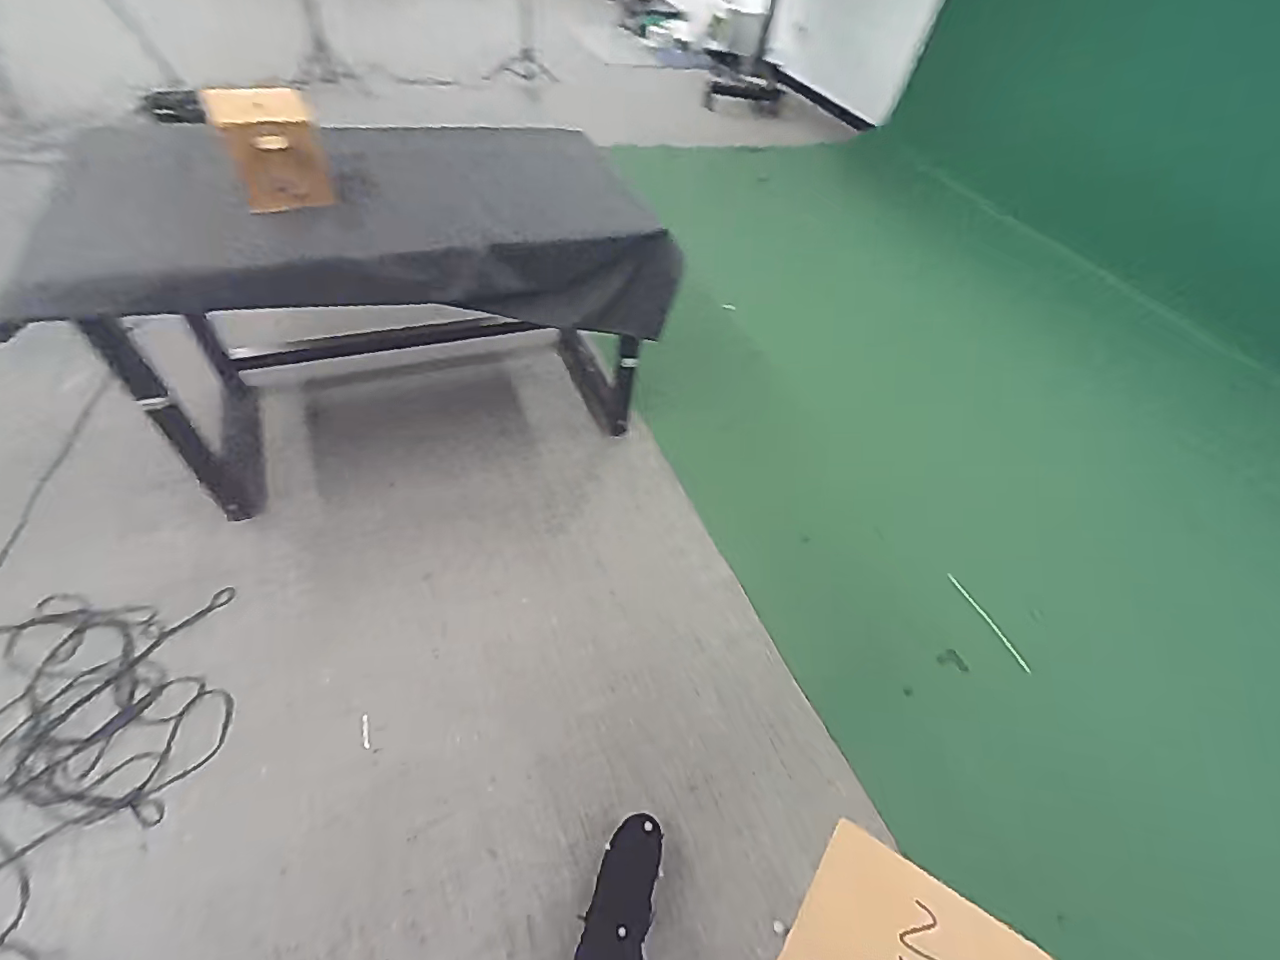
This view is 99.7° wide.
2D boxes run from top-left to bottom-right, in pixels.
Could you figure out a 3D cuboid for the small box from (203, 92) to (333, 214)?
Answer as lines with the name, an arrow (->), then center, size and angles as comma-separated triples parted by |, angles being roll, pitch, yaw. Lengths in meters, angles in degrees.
small box -> -0.764, -0.676, 1.119 | 0.168, 0.176, 0.179 | -22, 58, -26
